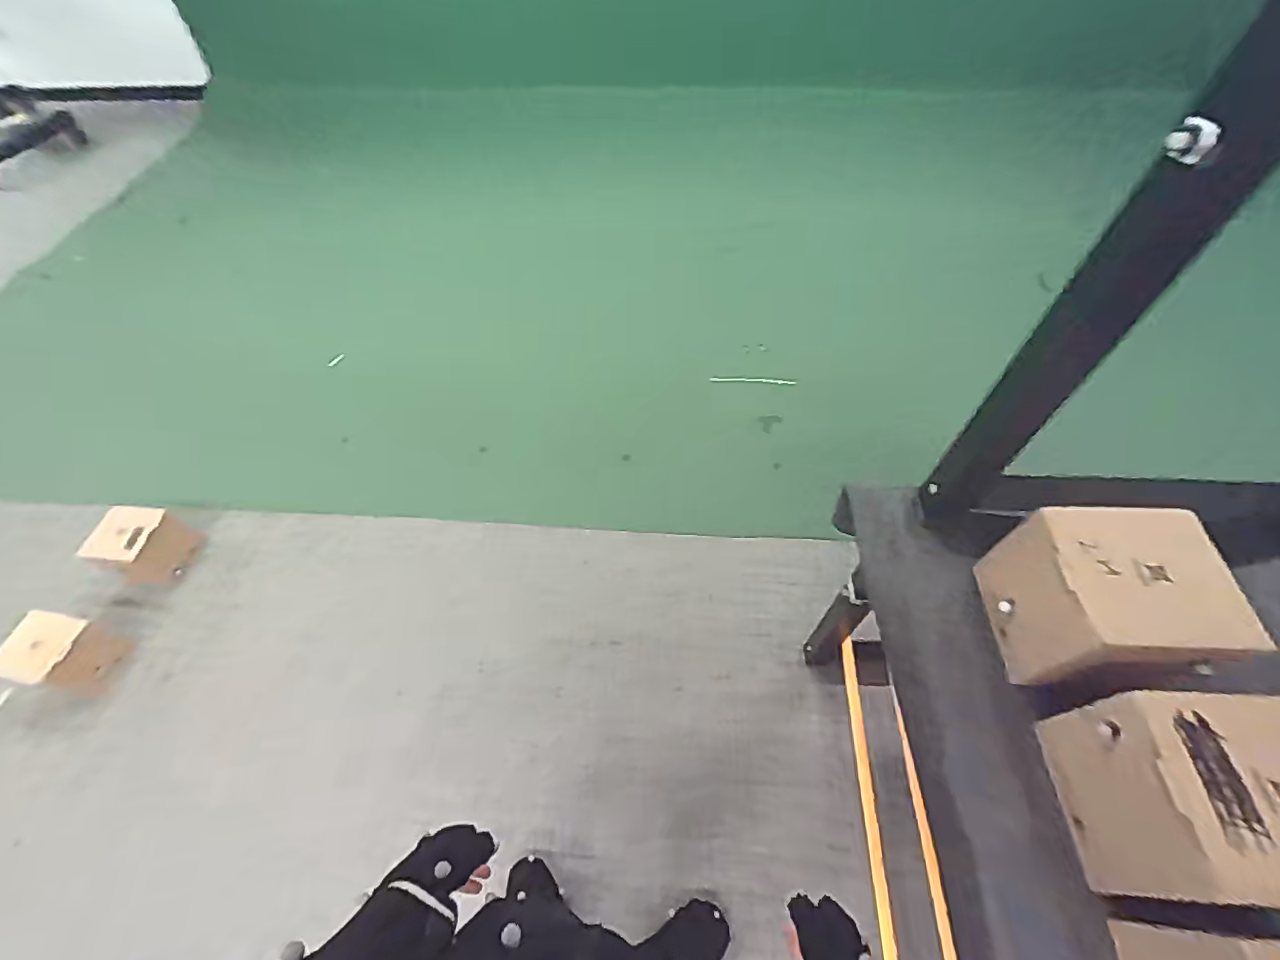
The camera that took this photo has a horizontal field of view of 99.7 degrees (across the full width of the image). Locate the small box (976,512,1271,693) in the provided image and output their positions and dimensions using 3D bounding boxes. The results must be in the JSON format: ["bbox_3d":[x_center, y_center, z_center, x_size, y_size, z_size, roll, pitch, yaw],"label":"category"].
[{"bbox_3d":[0.558,0.153,0.658,0.179,0.176,0.168,1,55,2],"label":"small box"}]

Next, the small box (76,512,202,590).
[{"bbox_3d":[-1.450,0.213,1.582,0.179,0.176,0.168,4,55,5],"label":"small box"}]

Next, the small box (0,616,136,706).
[{"bbox_3d":[-1.495,0.472,1.402,0.179,0.176,0.168,8,55,7],"label":"small box"}]
